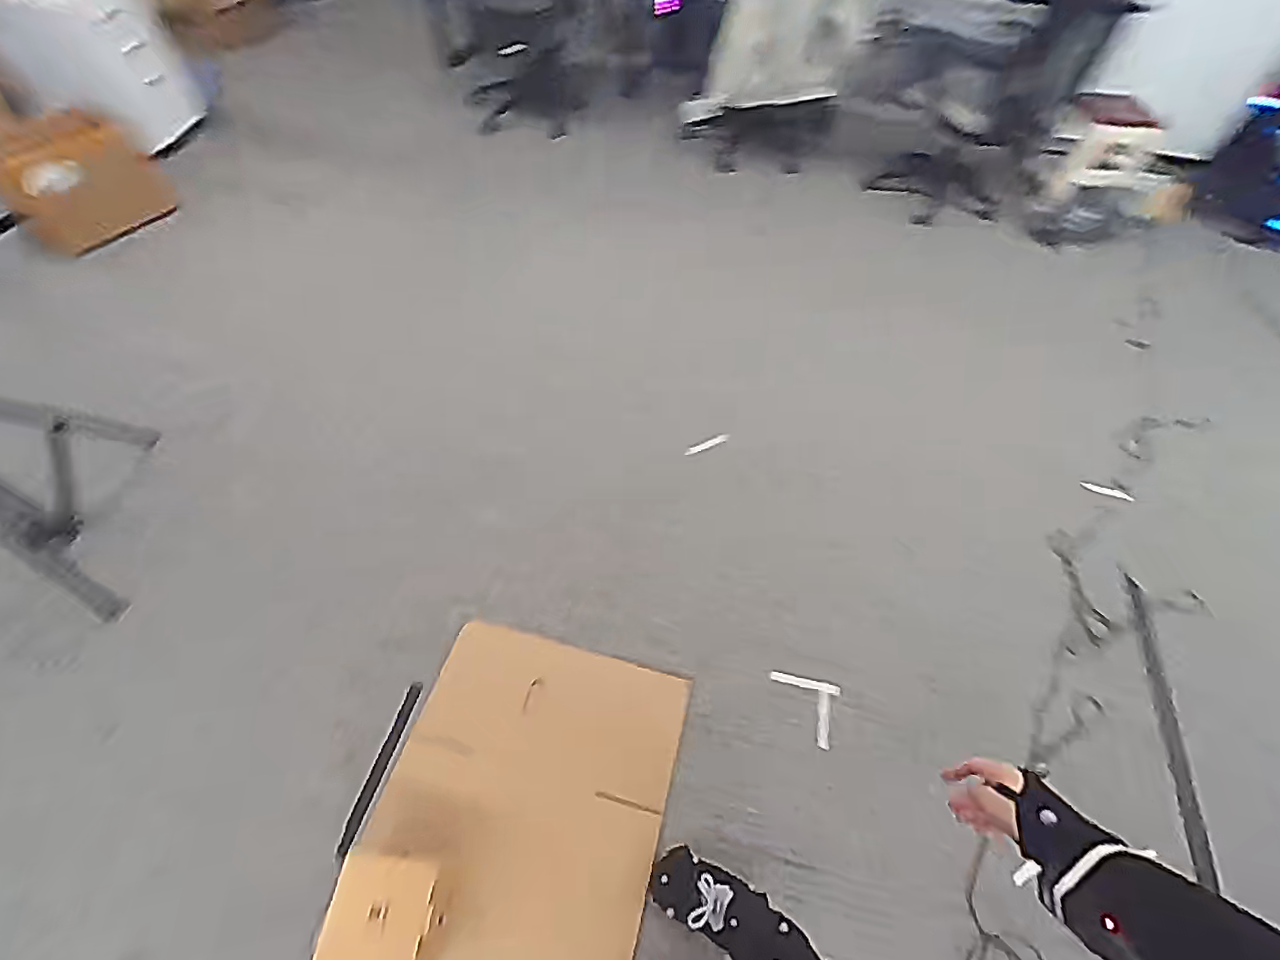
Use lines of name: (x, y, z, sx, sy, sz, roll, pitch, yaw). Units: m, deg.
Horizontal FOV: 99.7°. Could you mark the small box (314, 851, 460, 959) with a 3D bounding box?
small box: (-0.461, 0.804, 1.014, 0.179, 0.176, 0.168, 6, 57, 0)
